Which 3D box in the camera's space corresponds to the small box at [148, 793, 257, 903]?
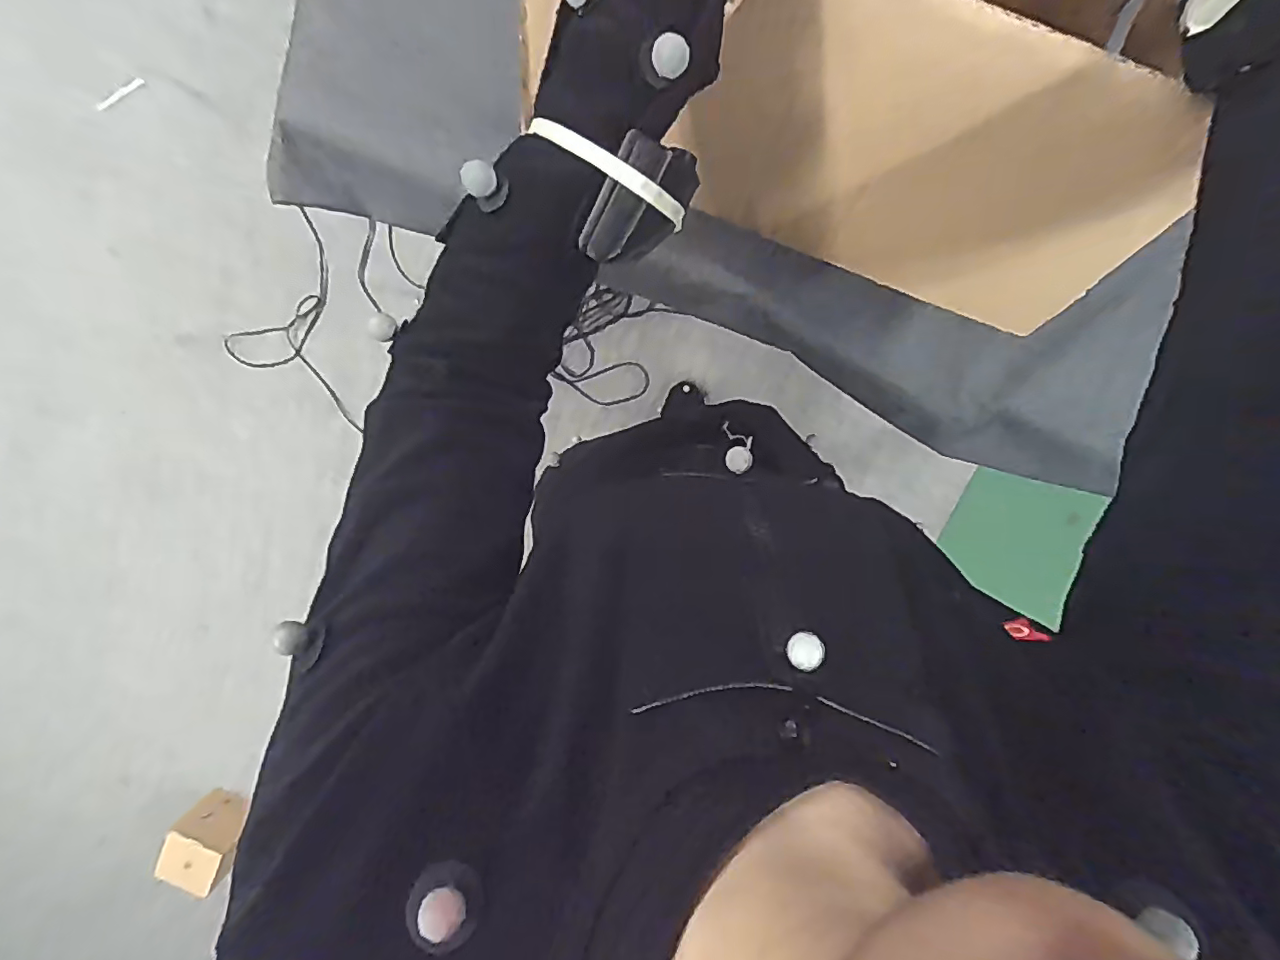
[{"bbox_3d":[-1.269,1.066,1.582,0.168,0.176,0.179,26,103,-1],"label":"small box"}]
